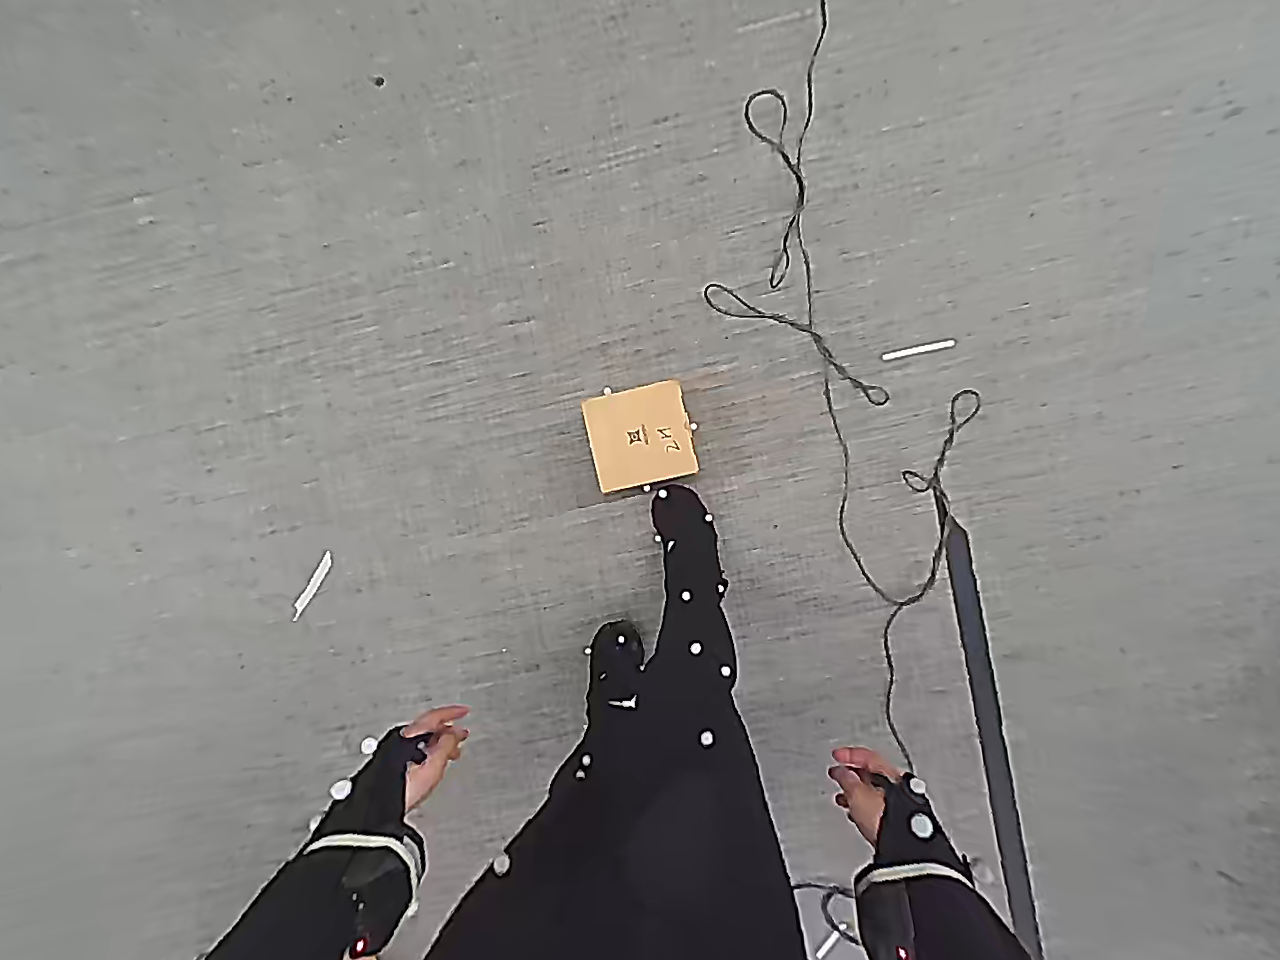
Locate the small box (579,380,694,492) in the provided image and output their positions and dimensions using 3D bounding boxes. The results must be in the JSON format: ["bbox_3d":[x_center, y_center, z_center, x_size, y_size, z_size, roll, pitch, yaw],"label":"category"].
[{"bbox_3d":[0.000,-0.078,1.006,0.179,0.176,0.168,-12,93,4],"label":"small box"}]
